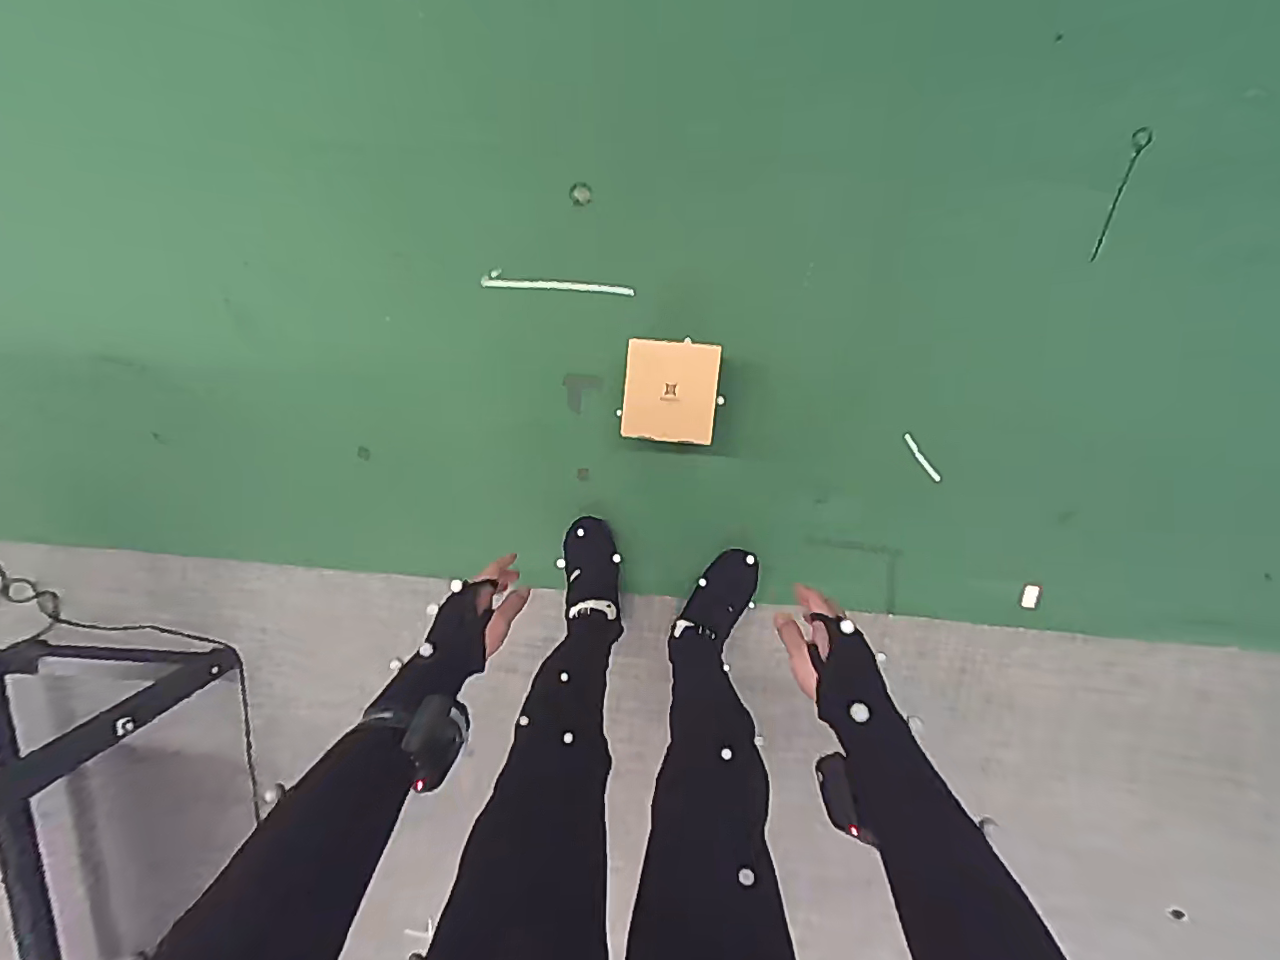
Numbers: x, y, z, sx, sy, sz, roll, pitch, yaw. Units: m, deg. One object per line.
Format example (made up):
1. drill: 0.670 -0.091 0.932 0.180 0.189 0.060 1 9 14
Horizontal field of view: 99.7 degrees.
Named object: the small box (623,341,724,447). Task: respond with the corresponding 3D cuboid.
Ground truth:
1. small box: 0.063 -0.165 1.037 0.168 0.176 0.179 5 101 4
